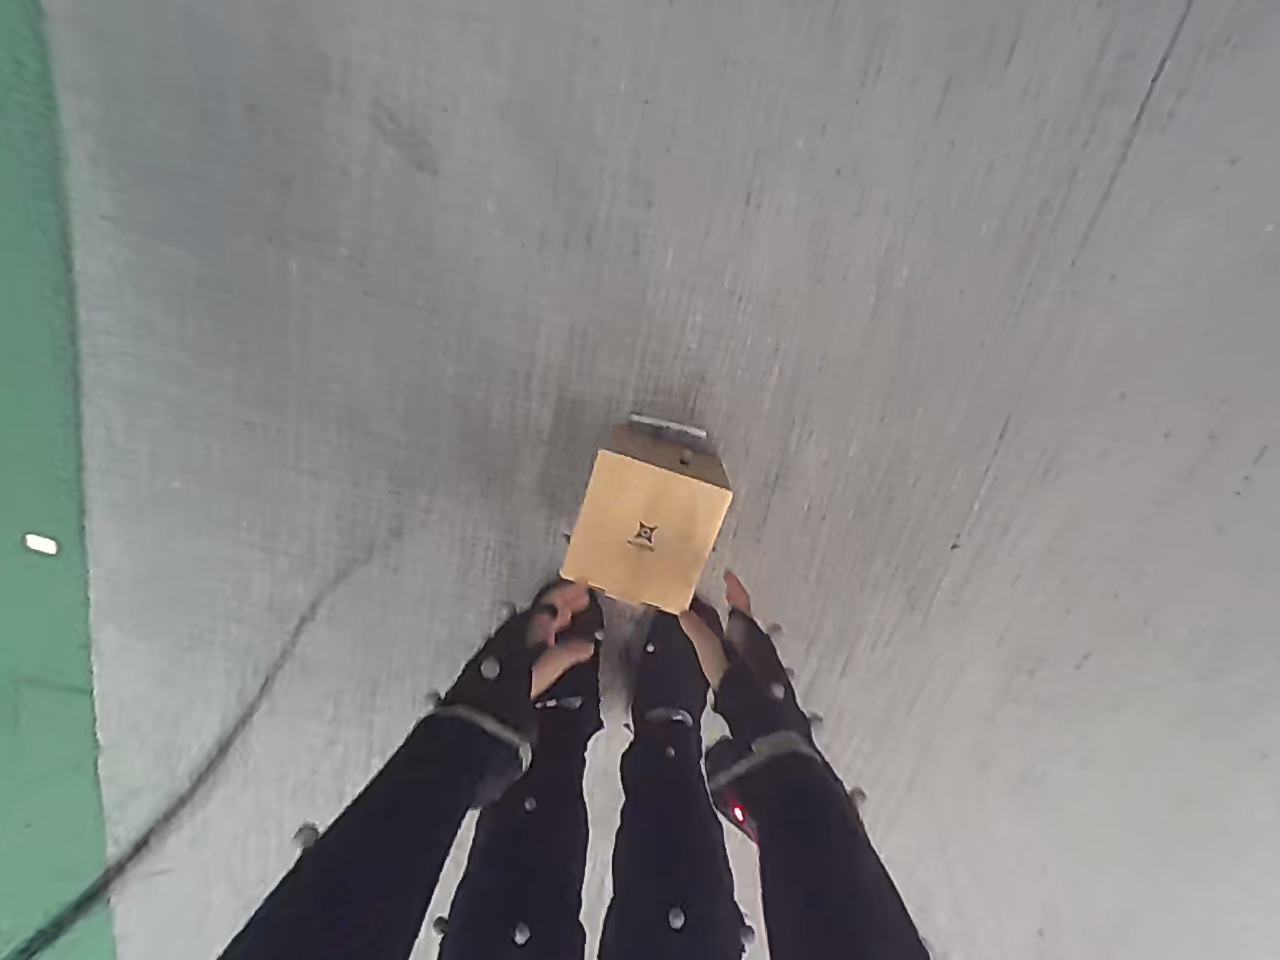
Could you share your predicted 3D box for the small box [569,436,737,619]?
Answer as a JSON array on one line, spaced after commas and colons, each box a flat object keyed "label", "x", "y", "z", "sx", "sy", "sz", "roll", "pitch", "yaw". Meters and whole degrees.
[{"label": "small box", "x": 0.016, "y": 0.053, "z": 0.738, "sx": 0.168, "sy": 0.176, "sz": 0.179, "roll": 19, "pitch": 106, "yaw": -2}]
